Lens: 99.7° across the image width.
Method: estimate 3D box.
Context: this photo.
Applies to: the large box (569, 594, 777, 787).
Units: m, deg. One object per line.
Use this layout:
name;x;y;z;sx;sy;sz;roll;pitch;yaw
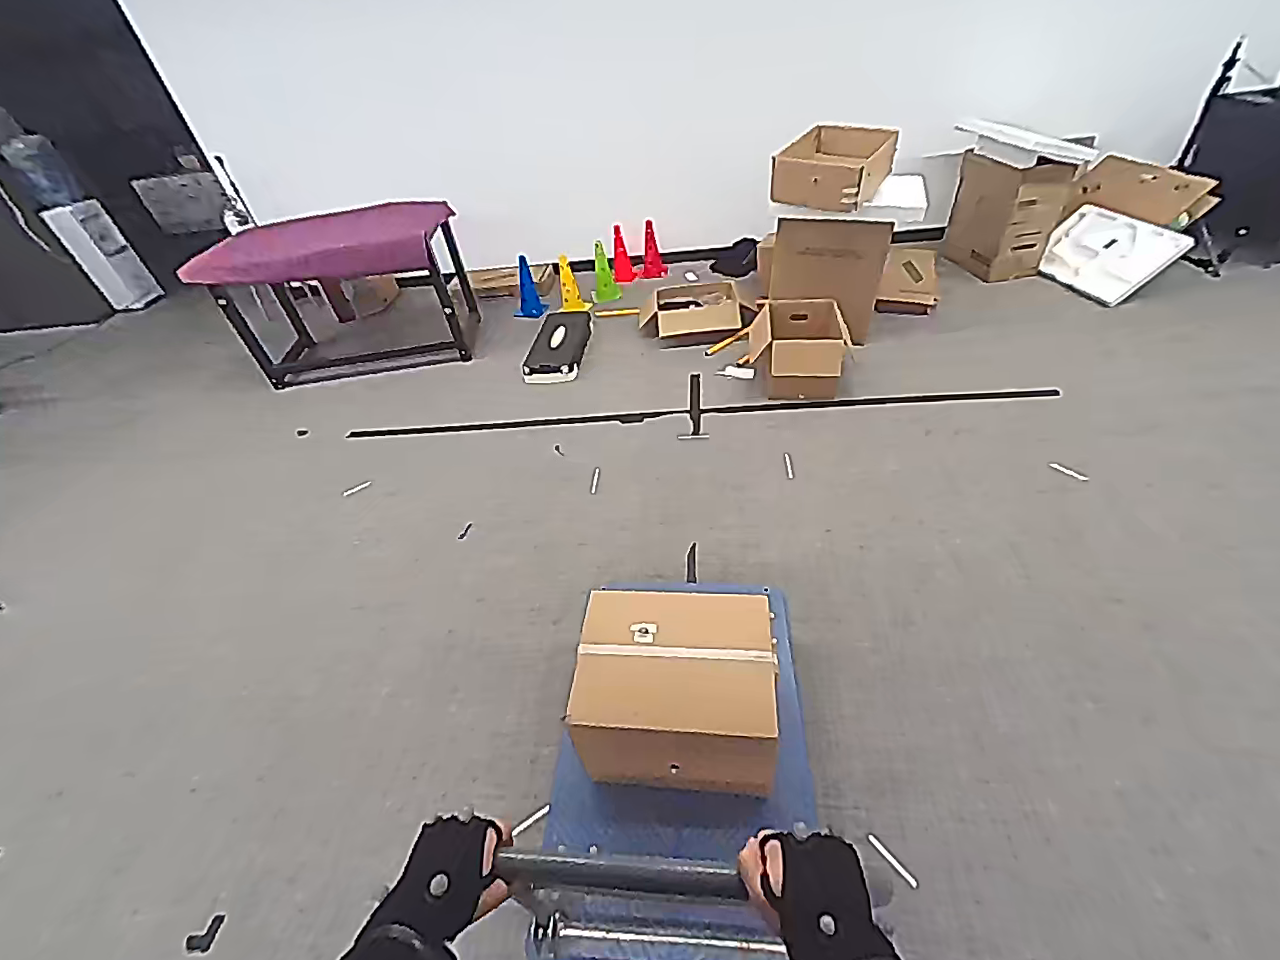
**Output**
large box;0.089;0.476;1.232;0.408;0.320;0.320;-1;41;9
